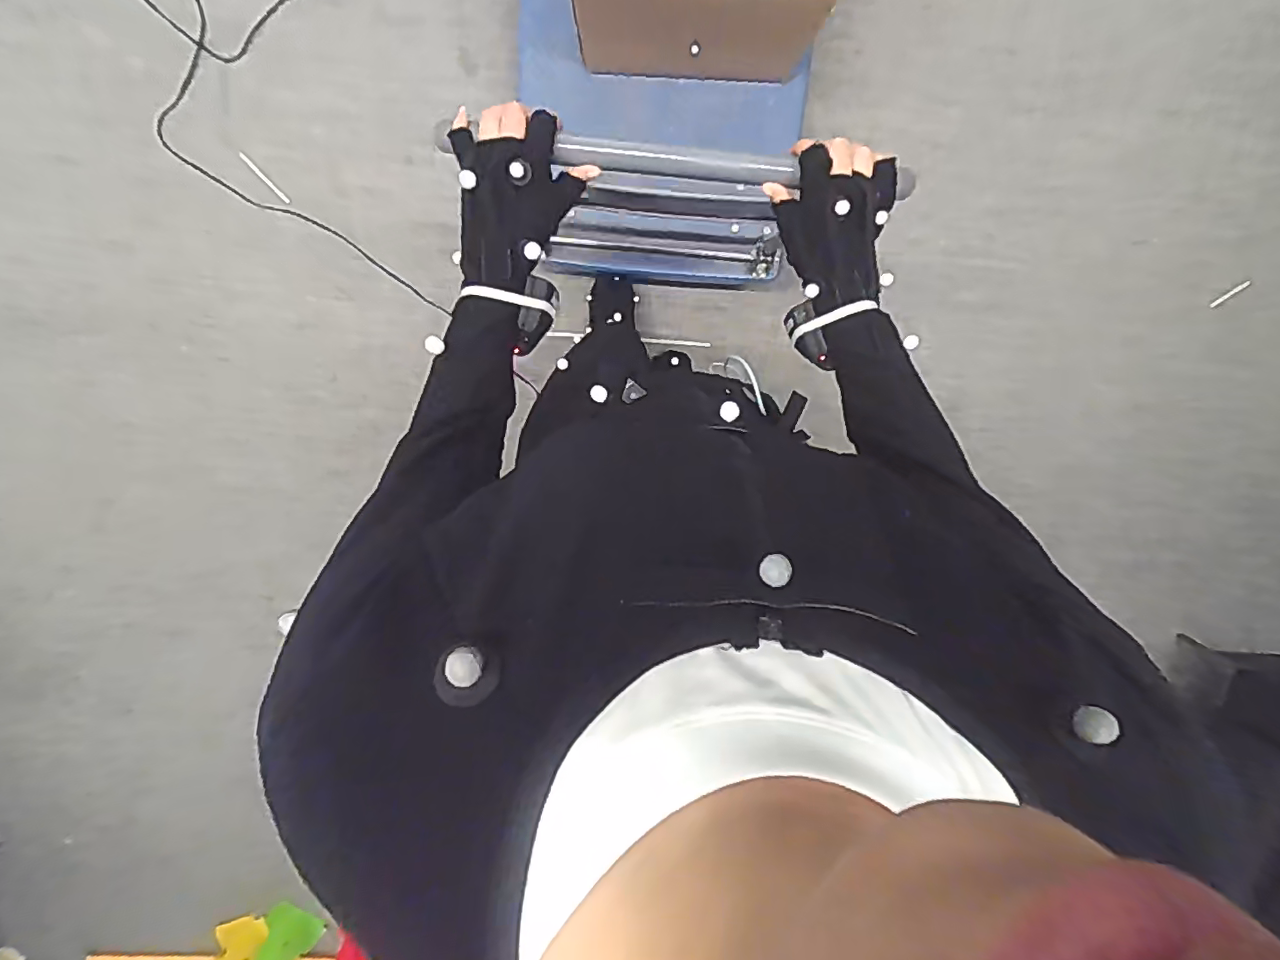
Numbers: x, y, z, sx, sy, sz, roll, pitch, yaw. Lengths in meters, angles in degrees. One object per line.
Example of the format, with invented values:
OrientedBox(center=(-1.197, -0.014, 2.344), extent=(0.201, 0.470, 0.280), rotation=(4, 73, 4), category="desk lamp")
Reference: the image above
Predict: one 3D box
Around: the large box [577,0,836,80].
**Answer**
OrientedBox(center=(0.105, -0.911, 0.903), extent=(0.408, 0.320, 0.320), rotation=(2, 105, -1), category="large box")
